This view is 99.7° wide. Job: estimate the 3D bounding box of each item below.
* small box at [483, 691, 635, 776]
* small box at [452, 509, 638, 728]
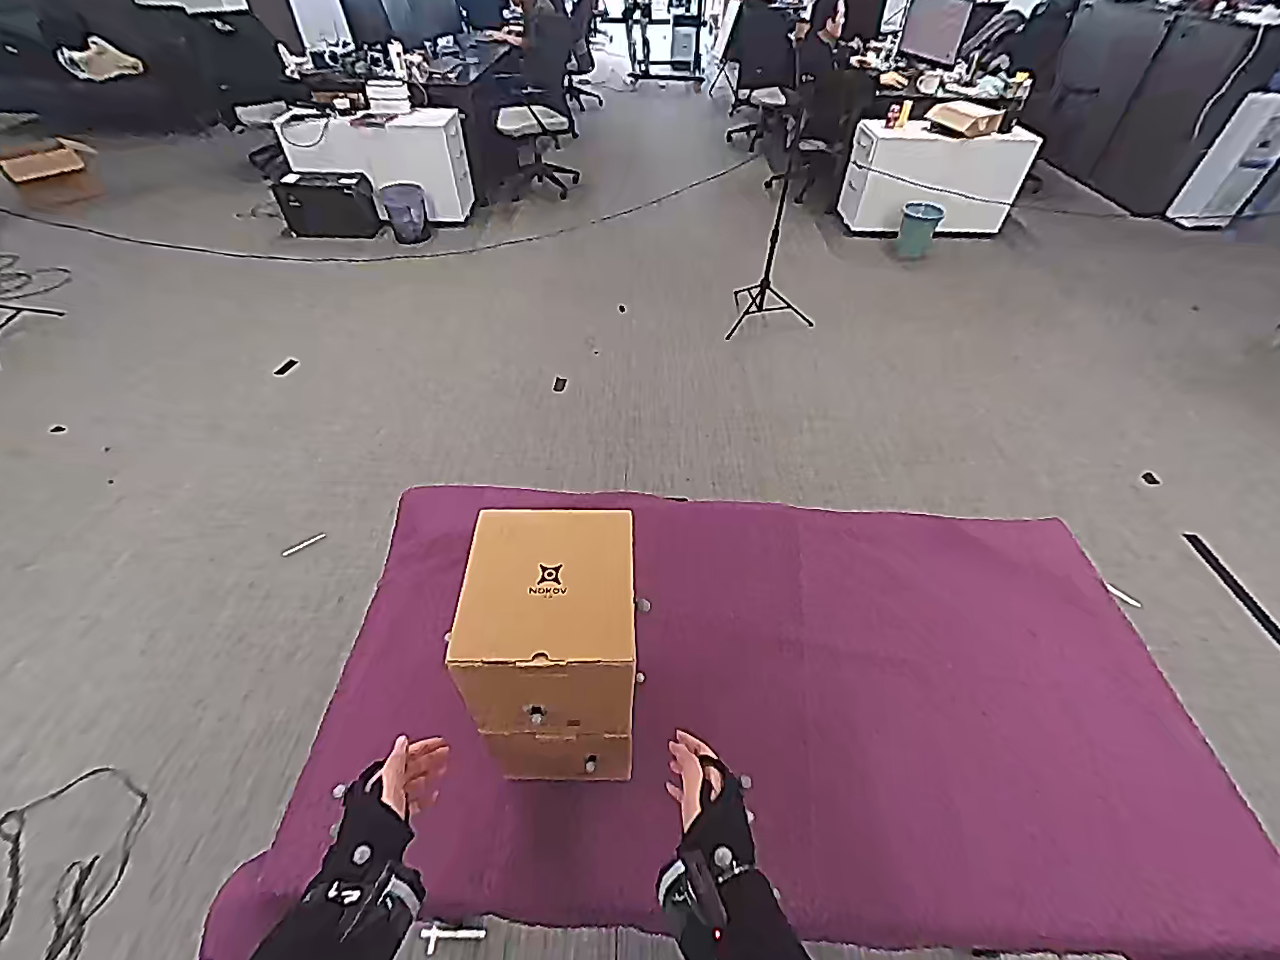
[{"bbox_3d":[-0.090,0.267,0.699,0.168,0.176,0.179,2,46,-1],"label":"small box"},{"bbox_3d":[-0.089,0.151,0.586,0.168,0.176,0.179,1,48,-3],"label":"small box"}]
